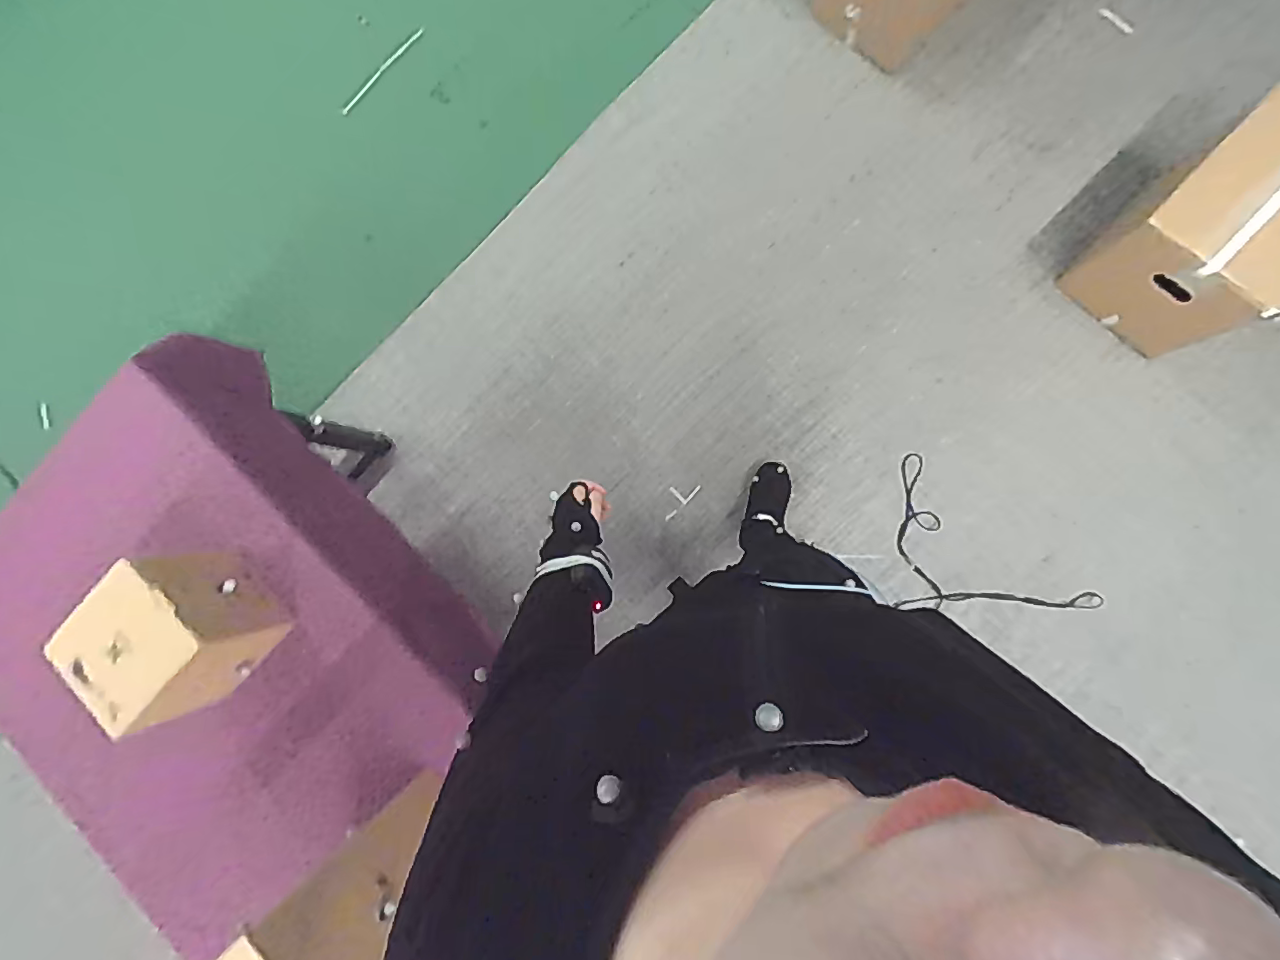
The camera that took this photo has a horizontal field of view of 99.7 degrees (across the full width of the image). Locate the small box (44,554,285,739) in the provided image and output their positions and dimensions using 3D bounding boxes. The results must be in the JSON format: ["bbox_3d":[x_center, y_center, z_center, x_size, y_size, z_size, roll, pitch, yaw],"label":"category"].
[{"bbox_3d":[-0.662,0.223,0.781,0.168,0.176,0.179,44,92,7],"label":"small box"}]

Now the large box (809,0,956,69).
[{"bbox_3d":[0.704,-1.395,1.380,0.320,0.320,0.408,44,91,7],"label":"large box"}]

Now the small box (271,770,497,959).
[{"bbox_3d":[-0.325,0.540,0.724,0.179,0.176,0.168,-45,83,2],"label":"small box"}]
